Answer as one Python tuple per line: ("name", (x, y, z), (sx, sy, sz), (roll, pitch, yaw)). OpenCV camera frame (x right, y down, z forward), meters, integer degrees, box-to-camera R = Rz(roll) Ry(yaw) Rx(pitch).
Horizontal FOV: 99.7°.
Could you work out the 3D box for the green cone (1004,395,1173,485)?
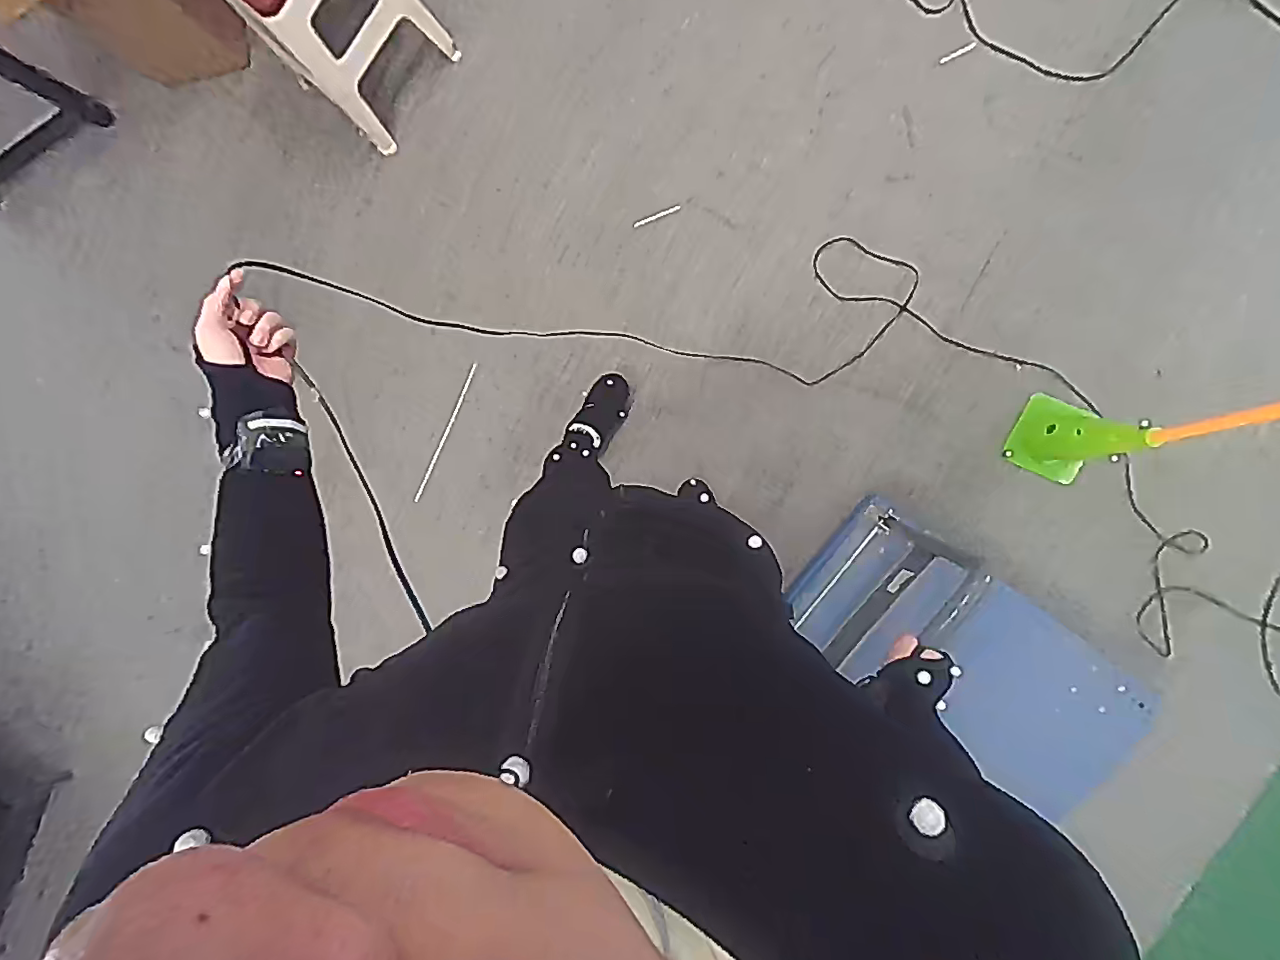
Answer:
("green cone", (1.094, -0.098, 1.285), (0.200, 0.368, 0.202), (24, 95, 5))
